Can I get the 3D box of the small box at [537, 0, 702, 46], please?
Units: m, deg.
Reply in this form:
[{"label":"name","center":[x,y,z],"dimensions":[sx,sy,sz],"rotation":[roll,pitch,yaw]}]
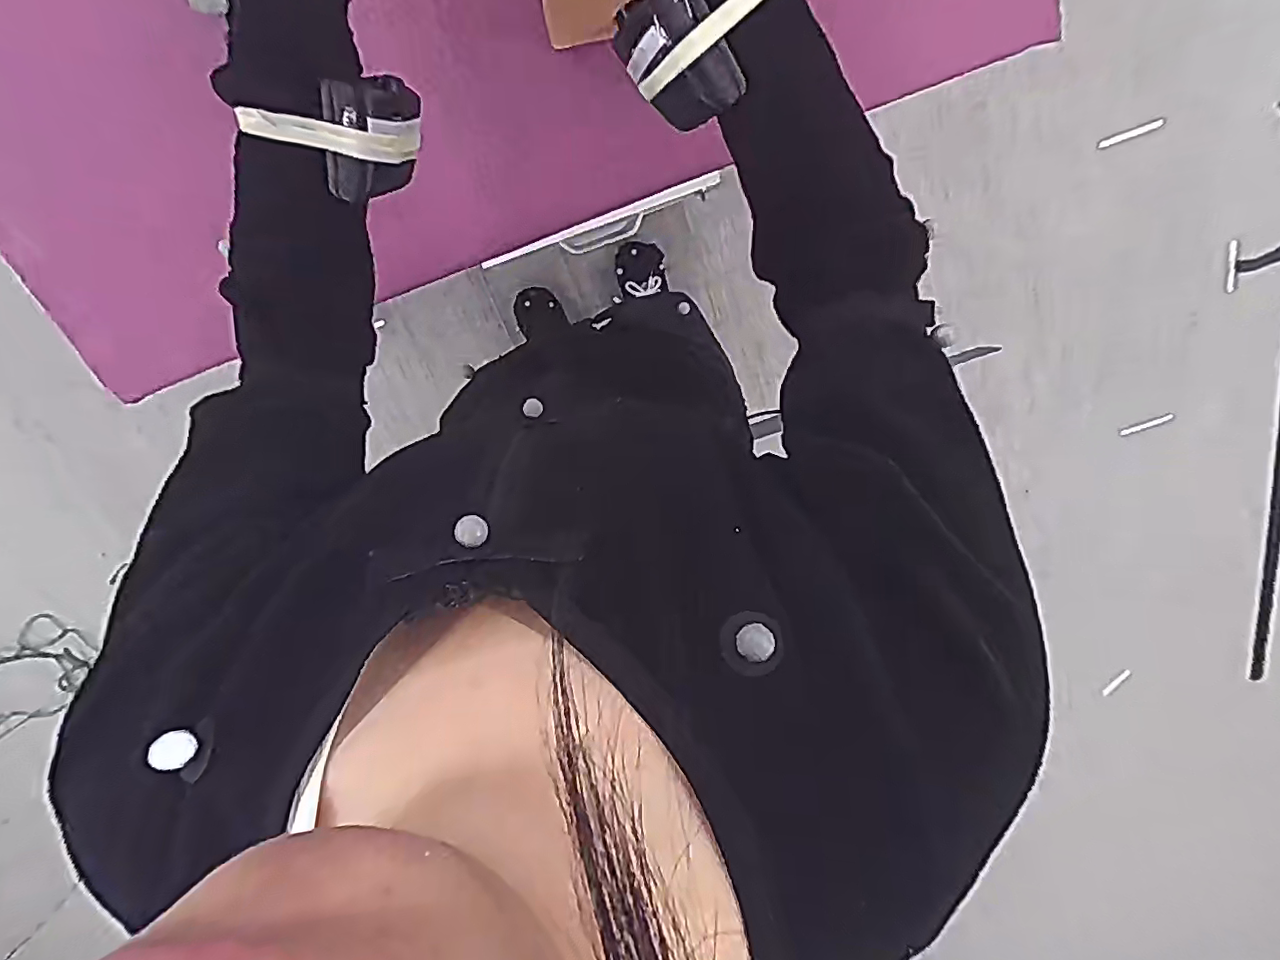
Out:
[{"label":"small box","center":[-0.027,-0.530,0.476],"dimensions":[0.168,0.176,0.179],"rotation":[-10,112,1]}]
